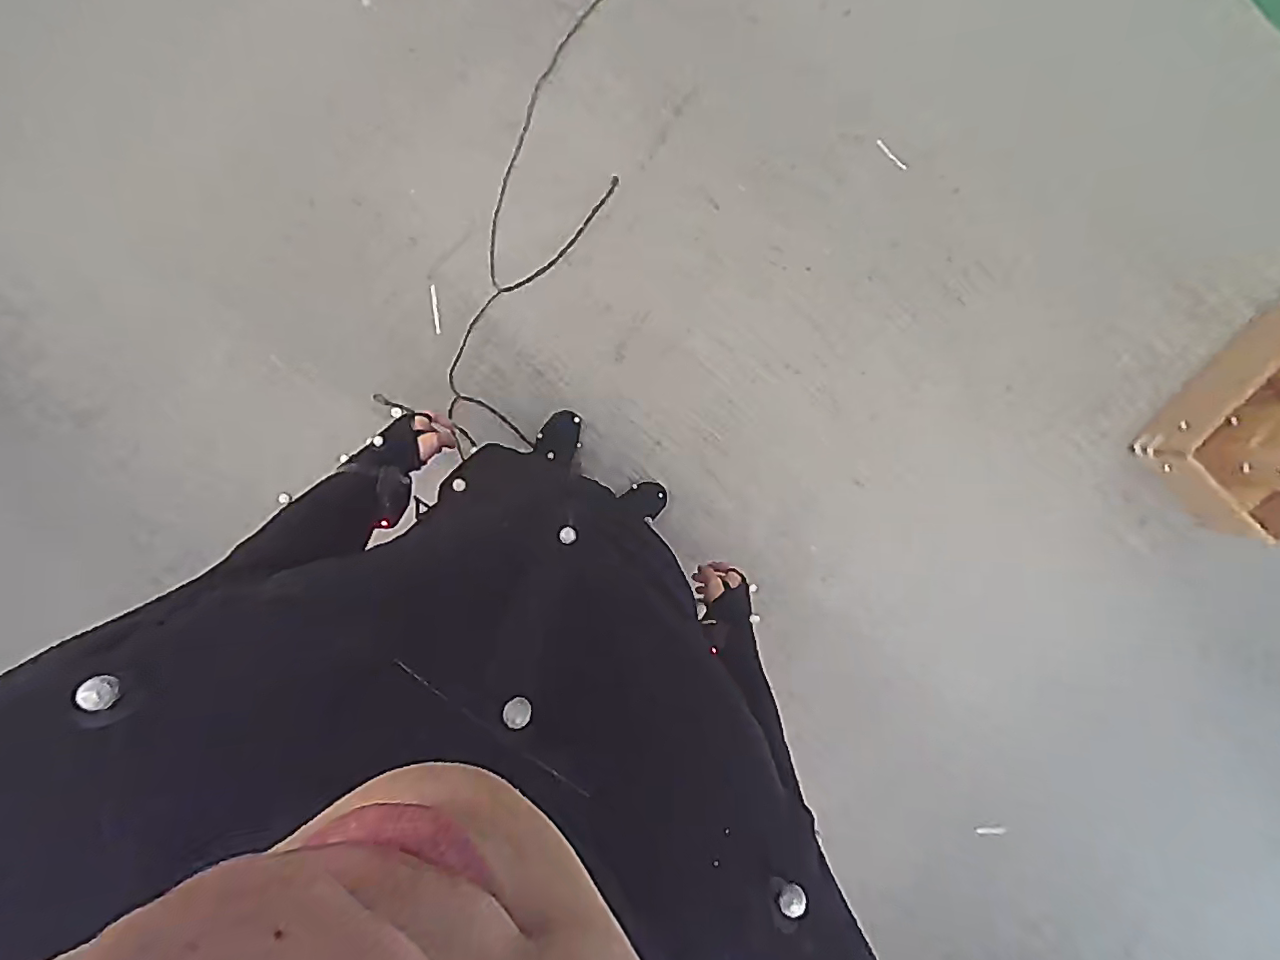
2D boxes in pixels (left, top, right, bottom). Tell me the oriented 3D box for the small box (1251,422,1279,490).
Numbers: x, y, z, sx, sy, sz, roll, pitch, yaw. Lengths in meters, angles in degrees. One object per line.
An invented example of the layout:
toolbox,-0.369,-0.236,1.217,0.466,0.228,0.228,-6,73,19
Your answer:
small box,1.741,-0.069,1.367,0.168,0.176,0.179,40,93,-3

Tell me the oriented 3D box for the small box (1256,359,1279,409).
small box,1.929,-0.282,1.521,0.179,0.176,0.168,42,93,-3

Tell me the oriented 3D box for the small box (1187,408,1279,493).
small box,1.736,-0.081,1.532,0.179,0.176,0.168,45,92,-5
